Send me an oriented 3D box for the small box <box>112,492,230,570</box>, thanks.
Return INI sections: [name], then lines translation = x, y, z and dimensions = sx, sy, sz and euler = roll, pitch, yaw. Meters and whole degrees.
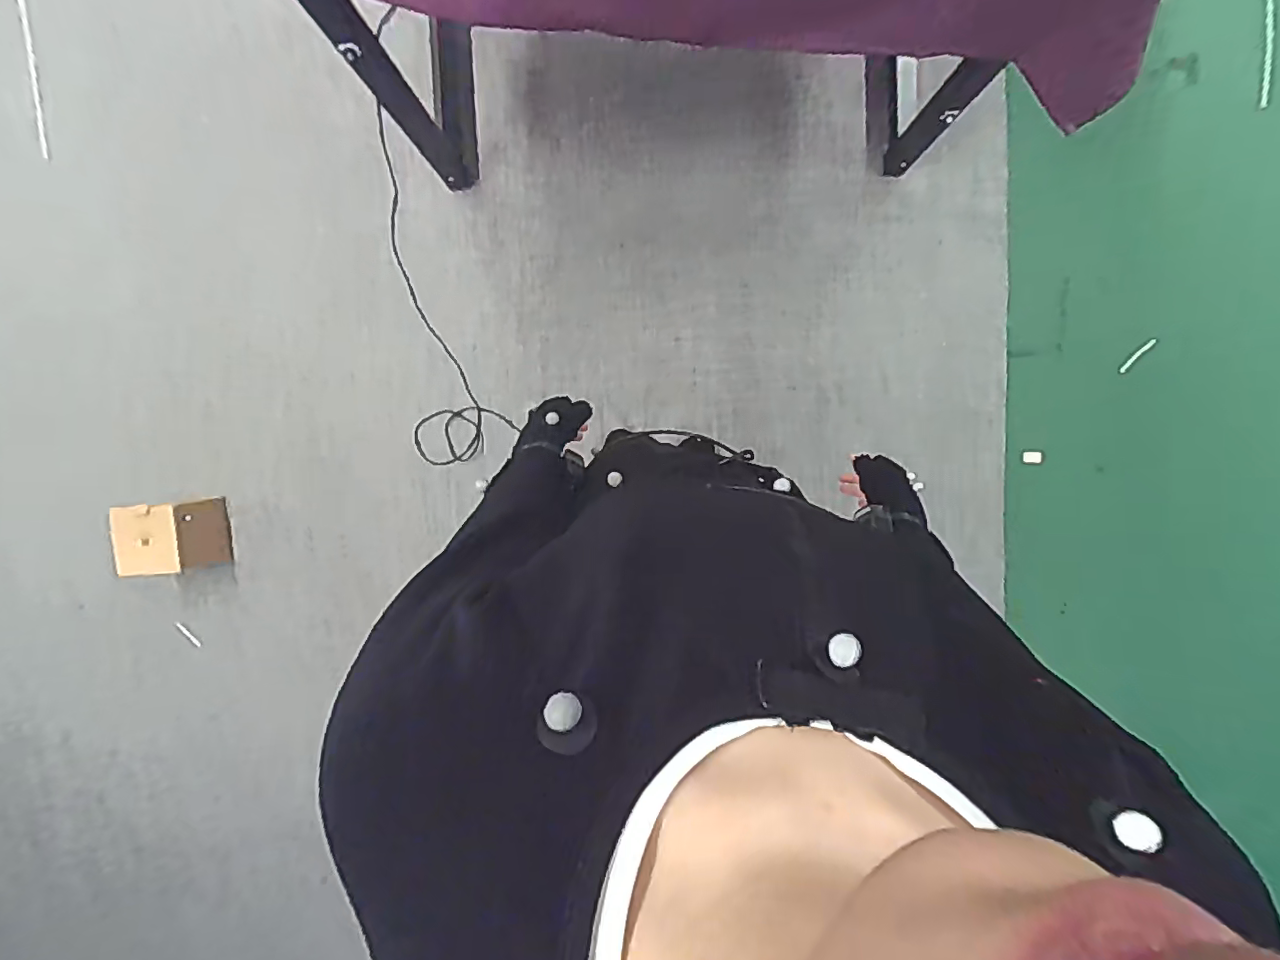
[small box]
translation = -1.226, 0.131, 1.426
dimensions = 0.168, 0.176, 0.179
euler = -3, 94, 1
